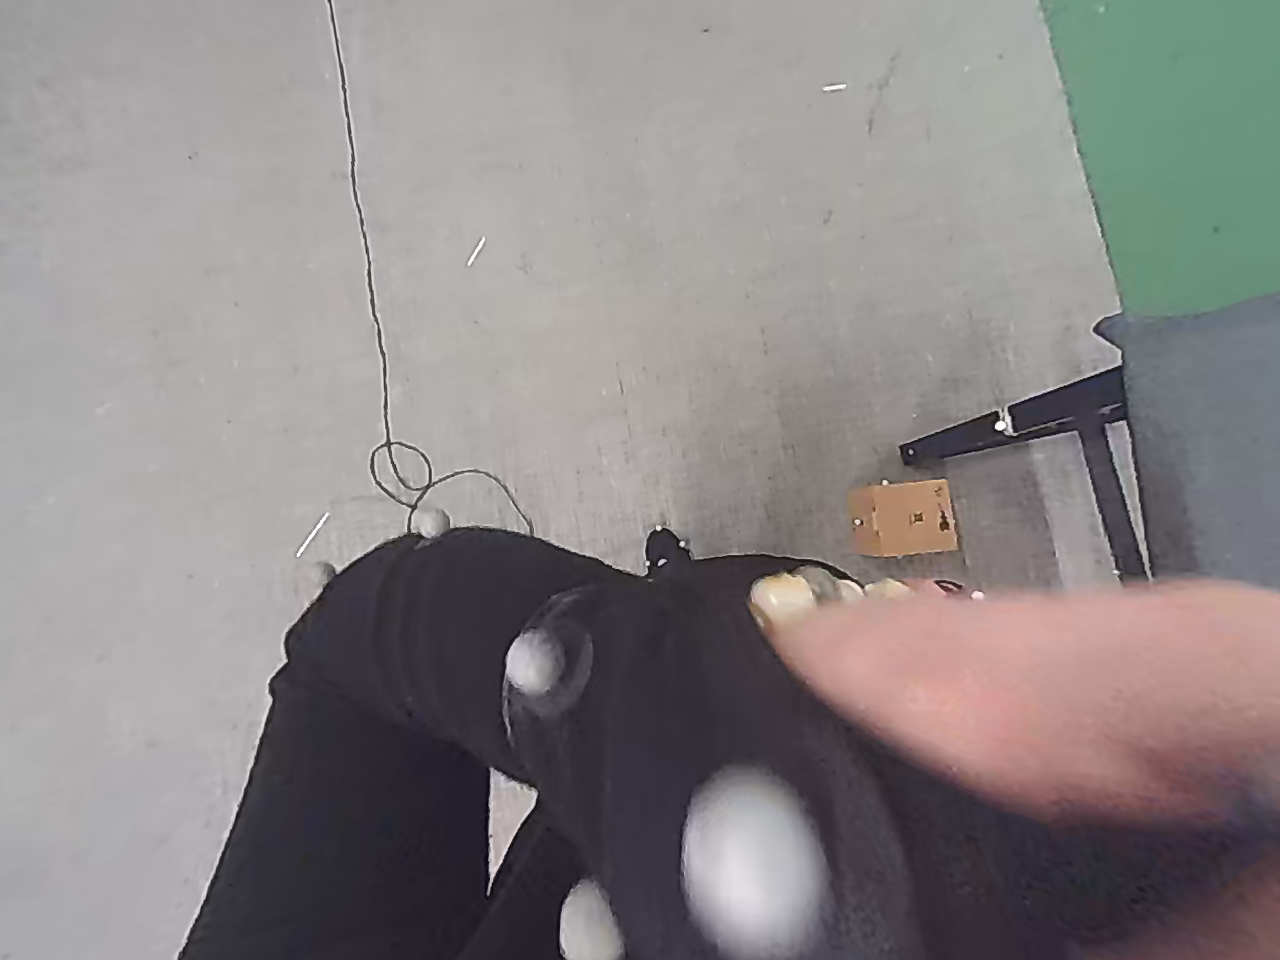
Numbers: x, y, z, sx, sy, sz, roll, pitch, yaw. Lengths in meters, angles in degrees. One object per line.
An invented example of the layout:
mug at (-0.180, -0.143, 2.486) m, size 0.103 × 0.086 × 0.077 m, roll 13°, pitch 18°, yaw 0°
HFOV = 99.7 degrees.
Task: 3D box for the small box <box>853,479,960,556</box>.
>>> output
small box at (0.631, 0.096, 1.306) m, size 0.179 × 0.176 × 0.168 m, roll -6°, pitch 84°, yaw 1°
